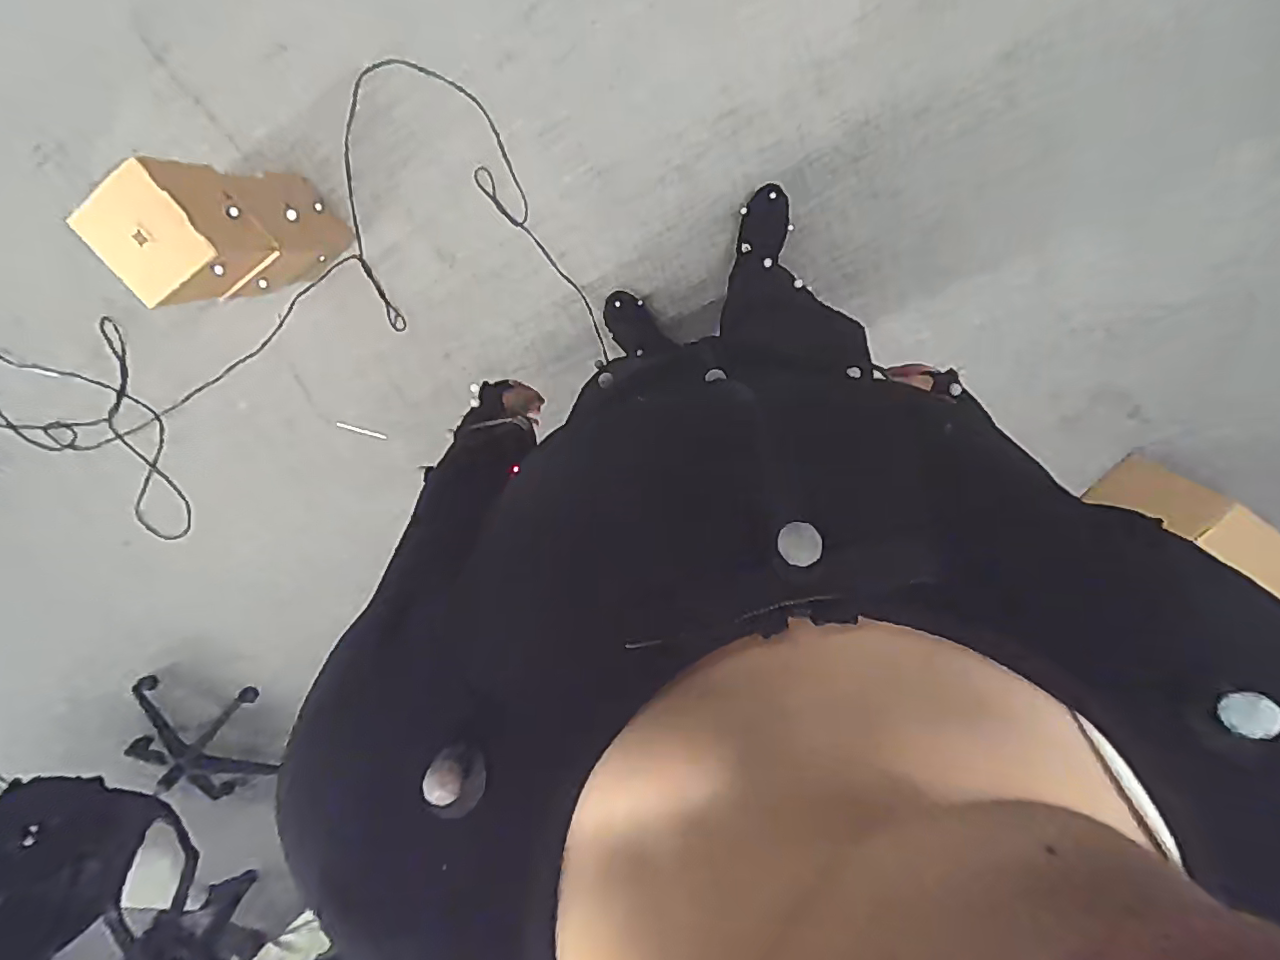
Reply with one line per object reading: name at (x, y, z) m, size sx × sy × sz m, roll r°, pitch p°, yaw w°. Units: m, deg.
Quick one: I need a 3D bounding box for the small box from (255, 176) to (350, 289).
small box at (-0.809, -0.567, 1.247) m, size 0.179 × 0.176 × 0.168 m, roll -32°, pitch 109°, yaw 16°

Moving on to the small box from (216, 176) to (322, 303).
small box at (-0.803, -0.486, 1.103) m, size 0.179 × 0.176 × 0.168 m, roll -29°, pitch 111°, yaw 13°

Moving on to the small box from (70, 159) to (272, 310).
small box at (-0.808, -0.425, 0.953) m, size 0.179 × 0.176 × 0.168 m, roll -30°, pitch 110°, yaw 14°
